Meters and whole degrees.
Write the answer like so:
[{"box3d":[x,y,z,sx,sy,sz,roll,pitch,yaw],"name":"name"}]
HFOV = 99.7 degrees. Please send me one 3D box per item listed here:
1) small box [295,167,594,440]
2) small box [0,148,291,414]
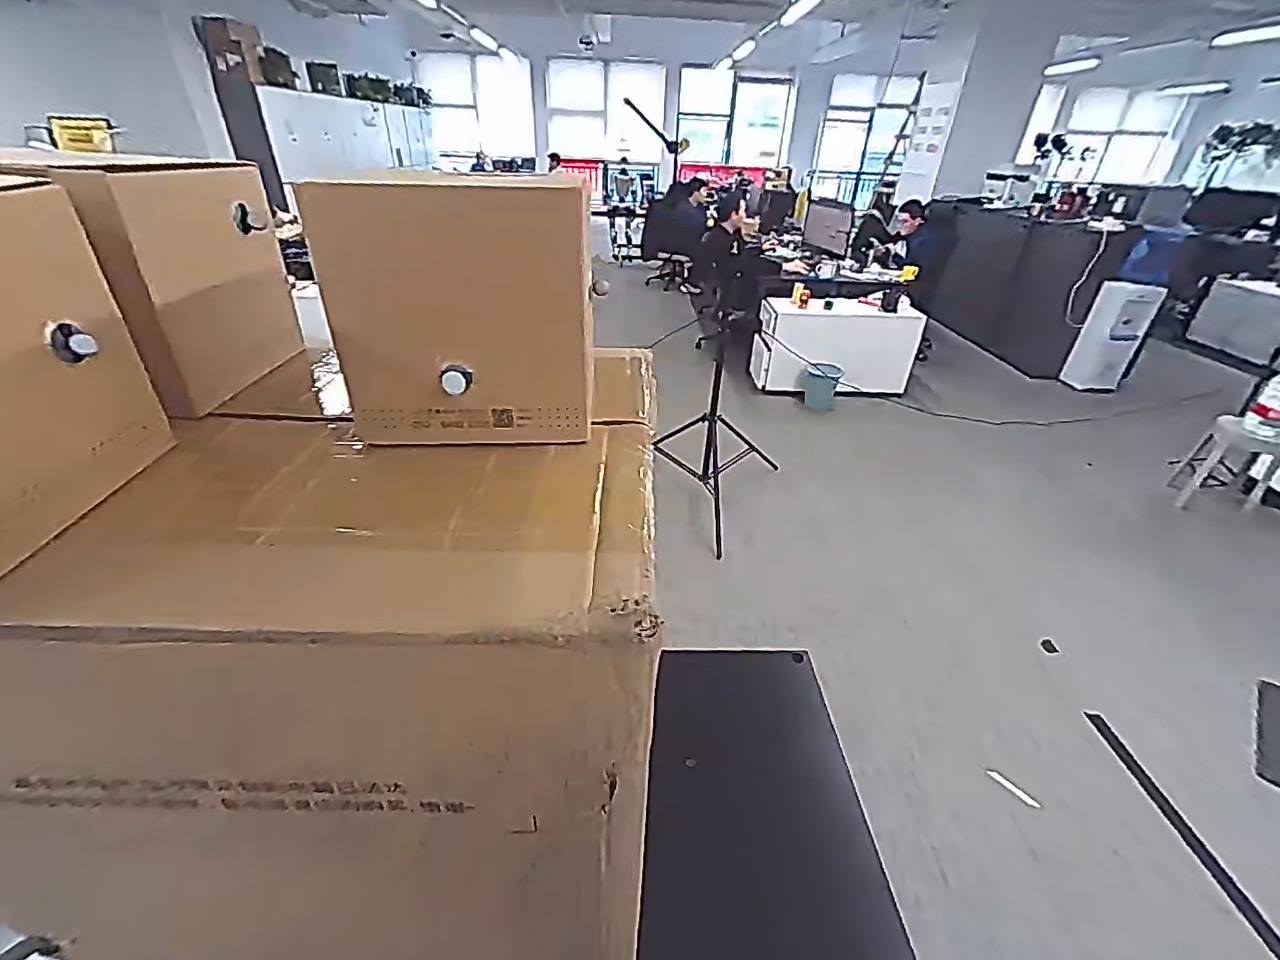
[{"box3d":[-0.123,-0.143,0.421,0.168,0.176,0.179,-1,31,-4],"name":"small box"},{"box3d":[-0.416,-0.164,0.437,0.168,0.176,0.179,0,30,-4],"name":"small box"}]
